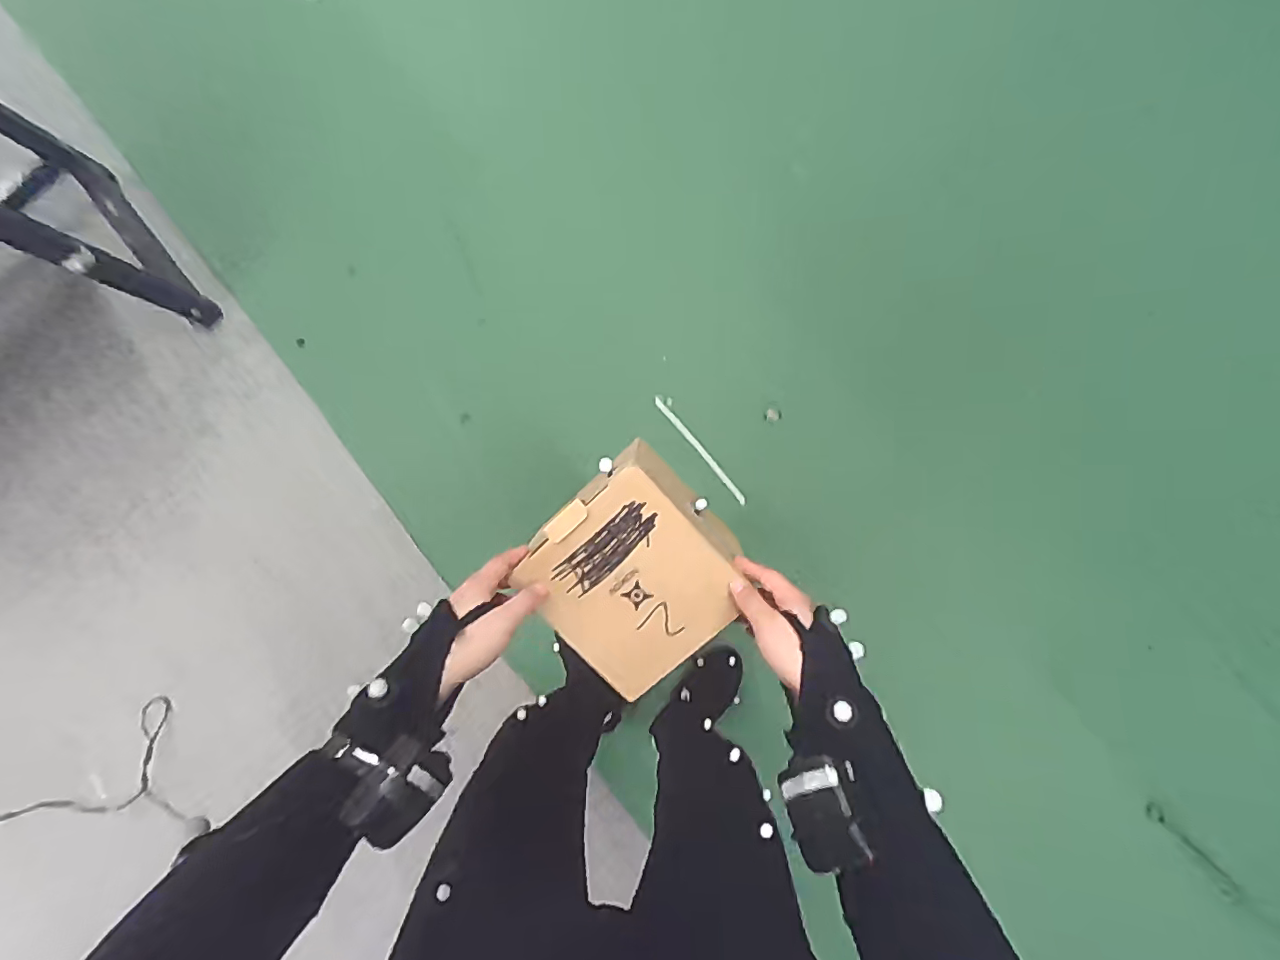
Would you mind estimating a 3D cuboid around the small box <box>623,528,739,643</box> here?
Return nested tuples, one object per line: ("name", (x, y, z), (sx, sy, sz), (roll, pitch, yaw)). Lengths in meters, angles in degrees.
("small box", (0.088, 0.214, 1.137), (0.179, 0.176, 0.168), (-32, 83, 2))
